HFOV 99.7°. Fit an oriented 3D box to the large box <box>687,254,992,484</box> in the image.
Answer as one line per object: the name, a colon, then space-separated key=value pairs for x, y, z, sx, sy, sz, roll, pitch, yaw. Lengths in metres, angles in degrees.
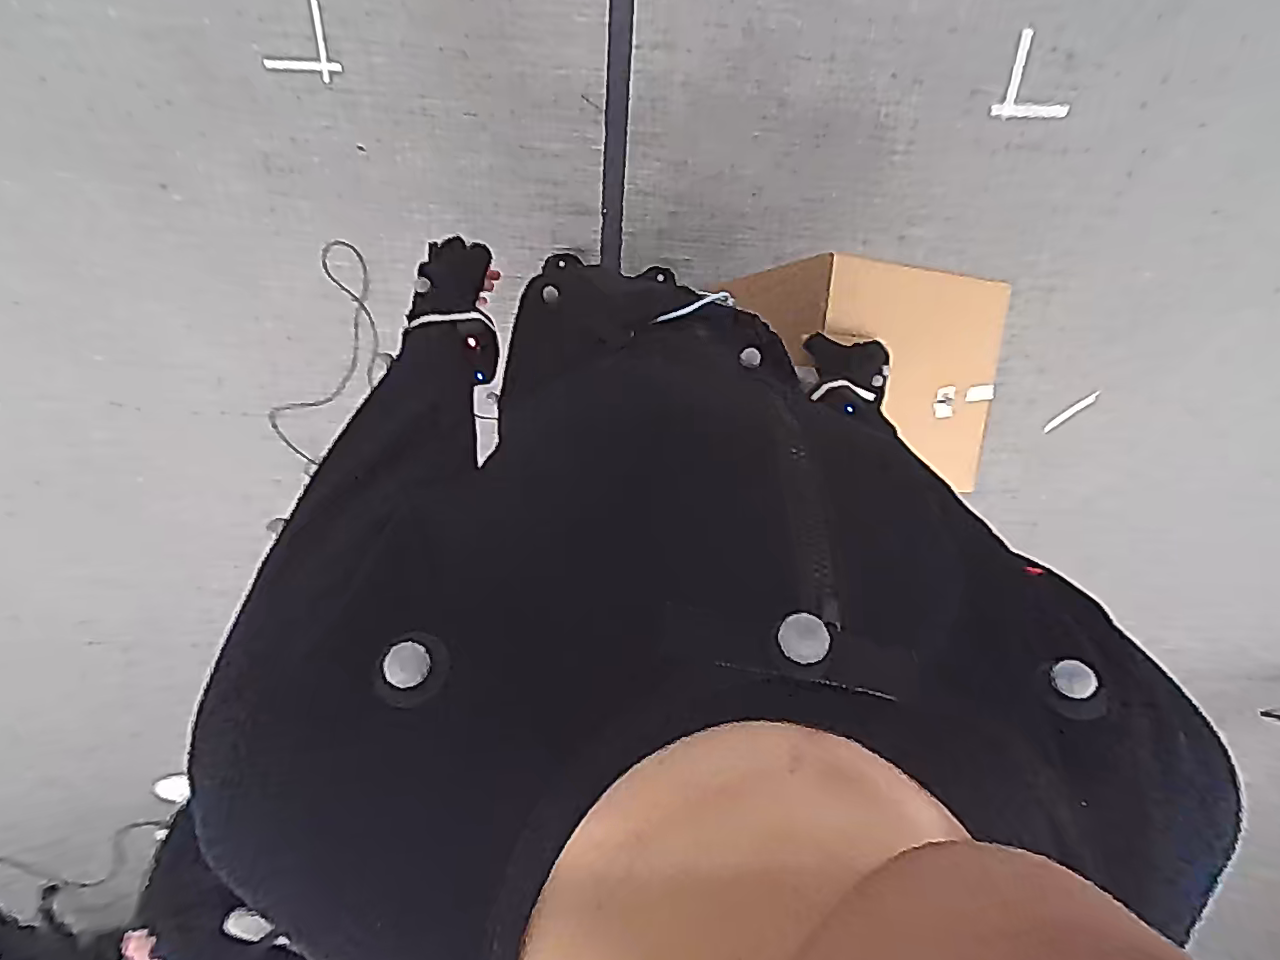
large box: x=0.309 y=-0.182 z=0.948 sx=0.320 sy=0.408 sz=0.320 roll=1 pitch=102 yaw=-18
